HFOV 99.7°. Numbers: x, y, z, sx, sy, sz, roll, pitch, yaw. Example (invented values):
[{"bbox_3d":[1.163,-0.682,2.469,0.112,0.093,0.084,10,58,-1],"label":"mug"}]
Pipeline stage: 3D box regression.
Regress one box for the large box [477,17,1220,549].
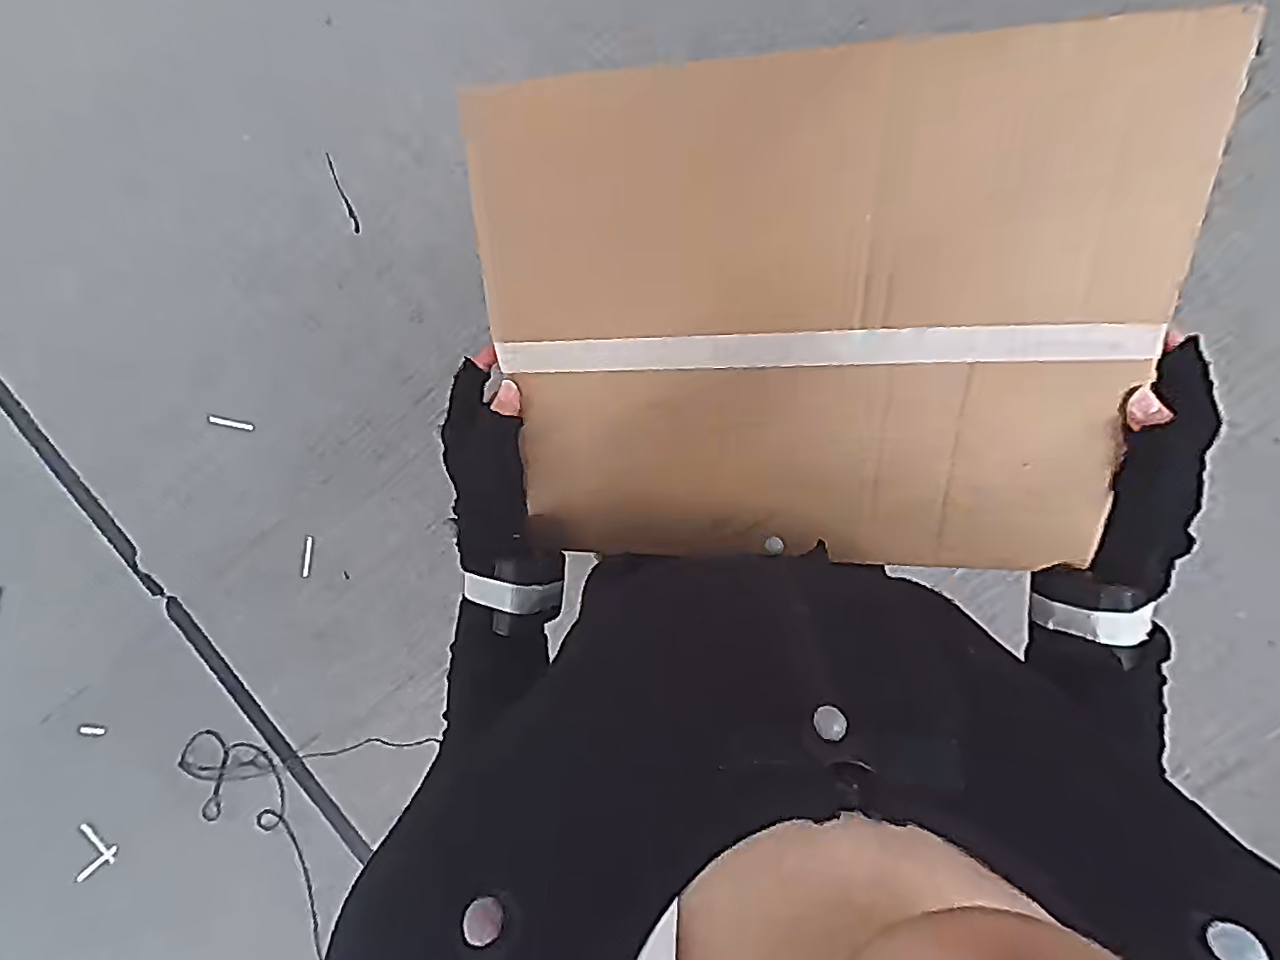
[{"bbox_3d":[0.123,-0.150,0.493,0.408,0.320,0.320,1,115,9],"label":"large box"}]
